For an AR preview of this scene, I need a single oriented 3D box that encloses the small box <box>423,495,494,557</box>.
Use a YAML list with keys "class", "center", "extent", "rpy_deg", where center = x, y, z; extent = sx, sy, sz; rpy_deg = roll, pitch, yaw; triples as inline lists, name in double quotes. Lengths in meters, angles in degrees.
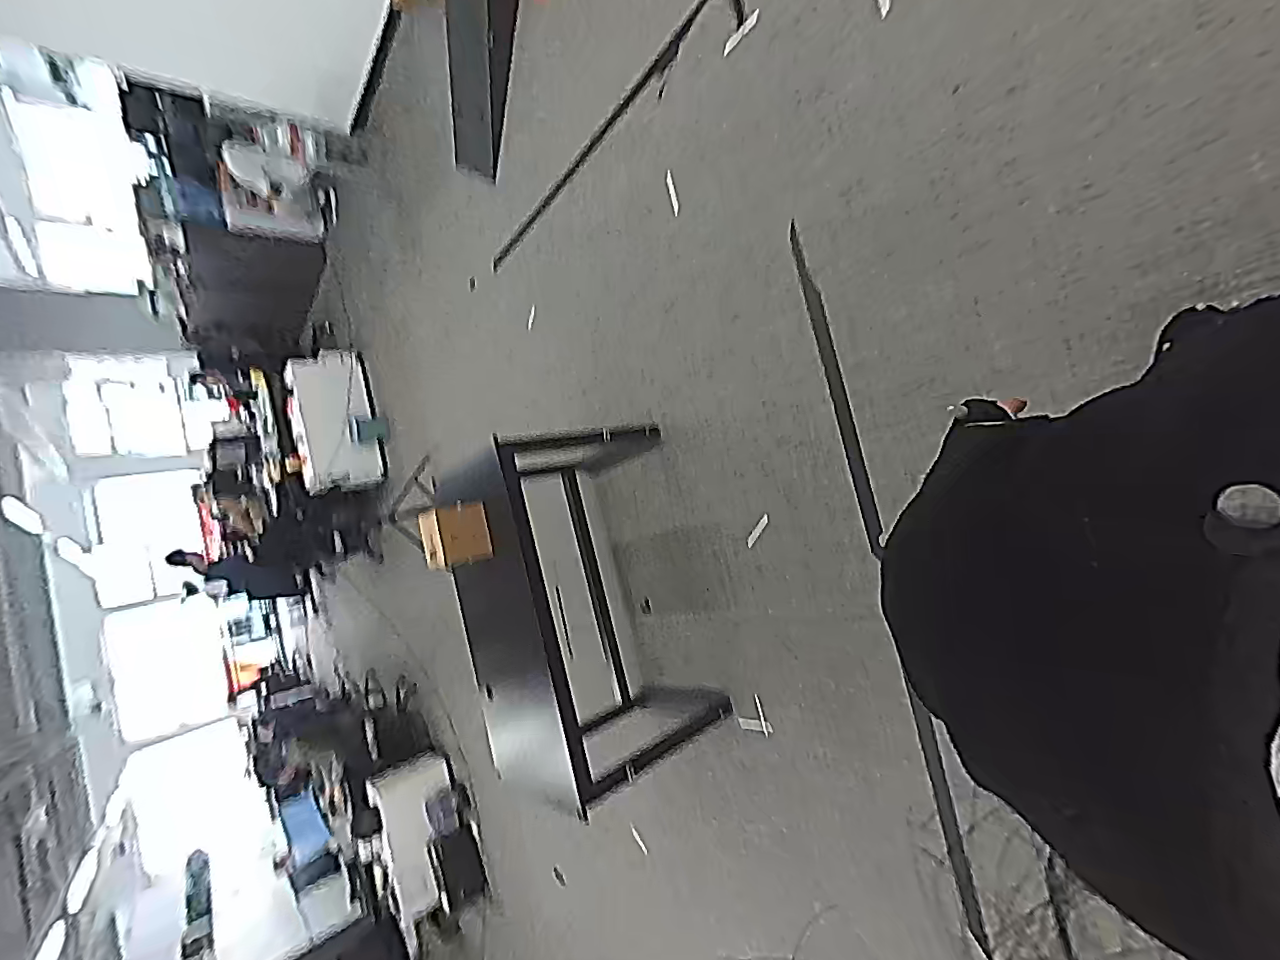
- class: "small box"
  center: [-0.616, 0.156, 1.845]
  extent: [0.168, 0.176, 0.179]
  rpy_deg: [-15, 86, 49]
